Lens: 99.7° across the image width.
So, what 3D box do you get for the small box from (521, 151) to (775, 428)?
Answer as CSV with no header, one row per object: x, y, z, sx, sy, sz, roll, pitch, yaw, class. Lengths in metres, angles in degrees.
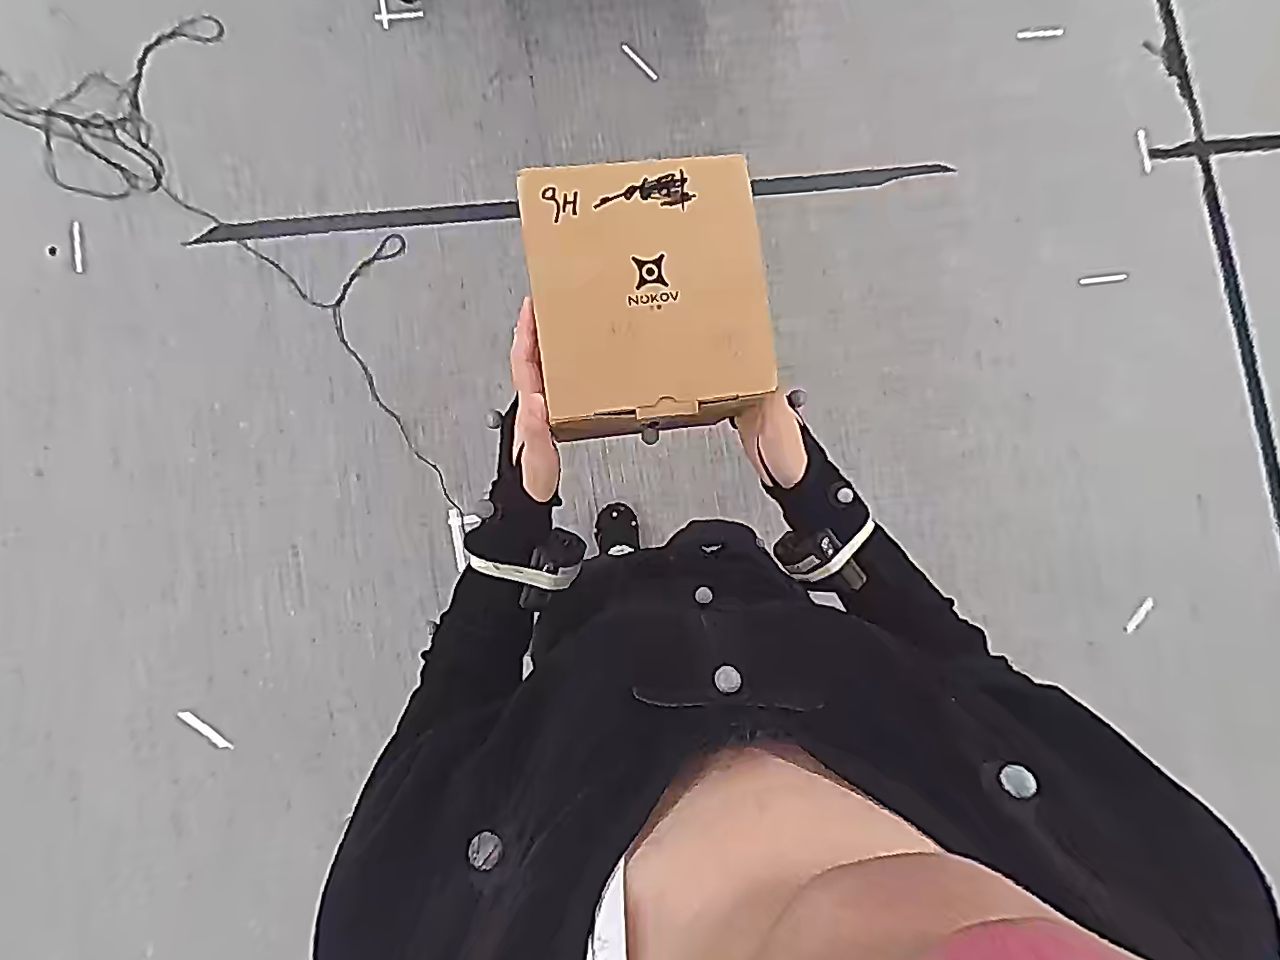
0.000,-0.139,0.456,0.168,0.176,0.179,-7,91,-6,small box

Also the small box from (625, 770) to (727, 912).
0.067,0.713,1.089,0.179,0.176,0.168,-8,86,-4,small box
